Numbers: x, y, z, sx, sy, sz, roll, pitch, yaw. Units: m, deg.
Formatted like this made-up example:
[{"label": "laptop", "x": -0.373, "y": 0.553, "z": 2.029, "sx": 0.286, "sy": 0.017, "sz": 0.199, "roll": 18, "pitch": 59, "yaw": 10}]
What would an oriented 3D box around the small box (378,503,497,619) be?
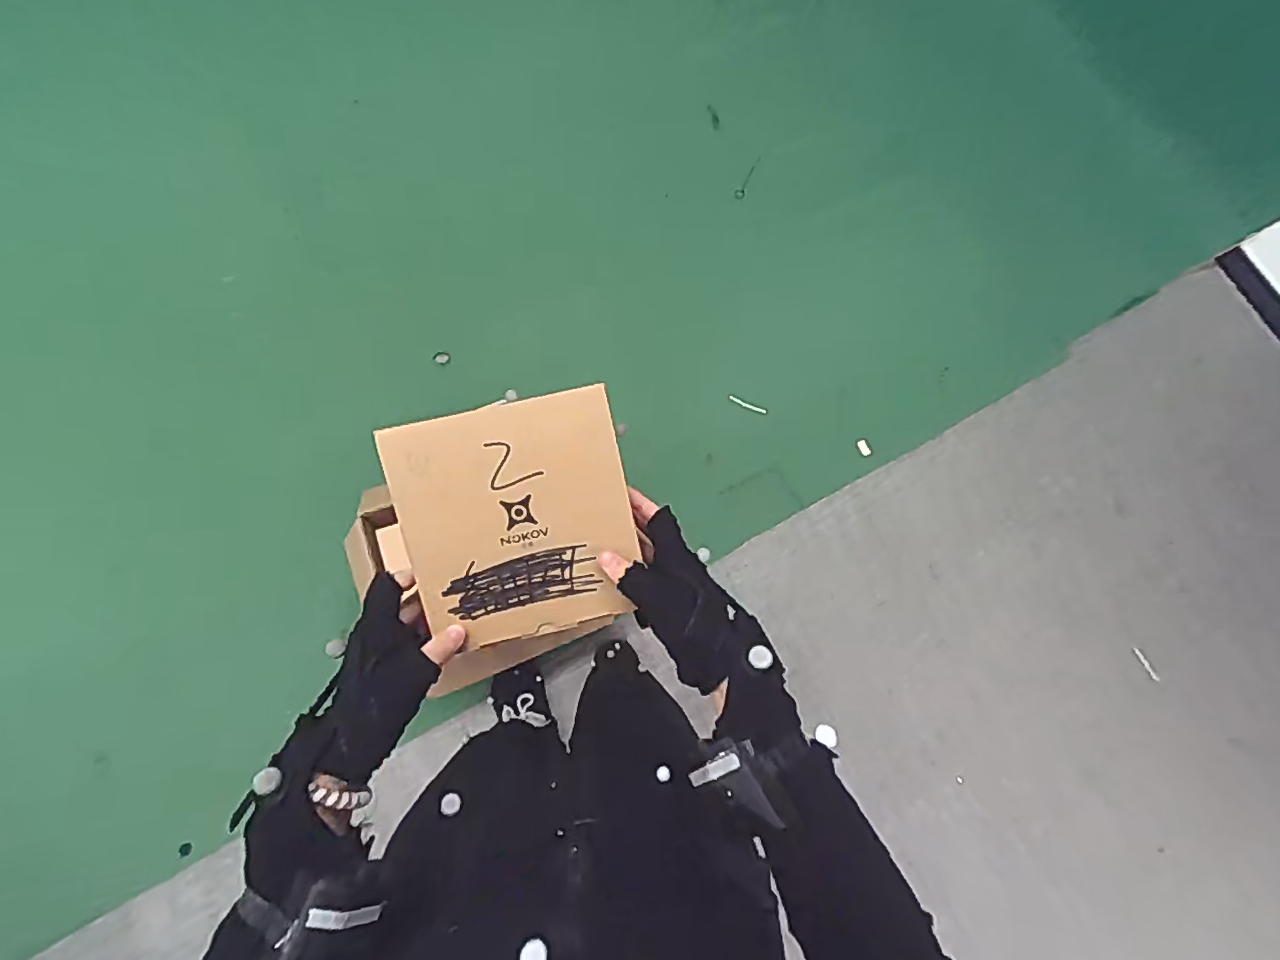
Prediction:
[{"label": "small box", "x": -0.388, "y": 0.164, "z": 1.060, "sx": 0.168, "sy": 0.176, "sz": 0.179, "roll": -17, "pitch": 79, "yaw": -13}]
